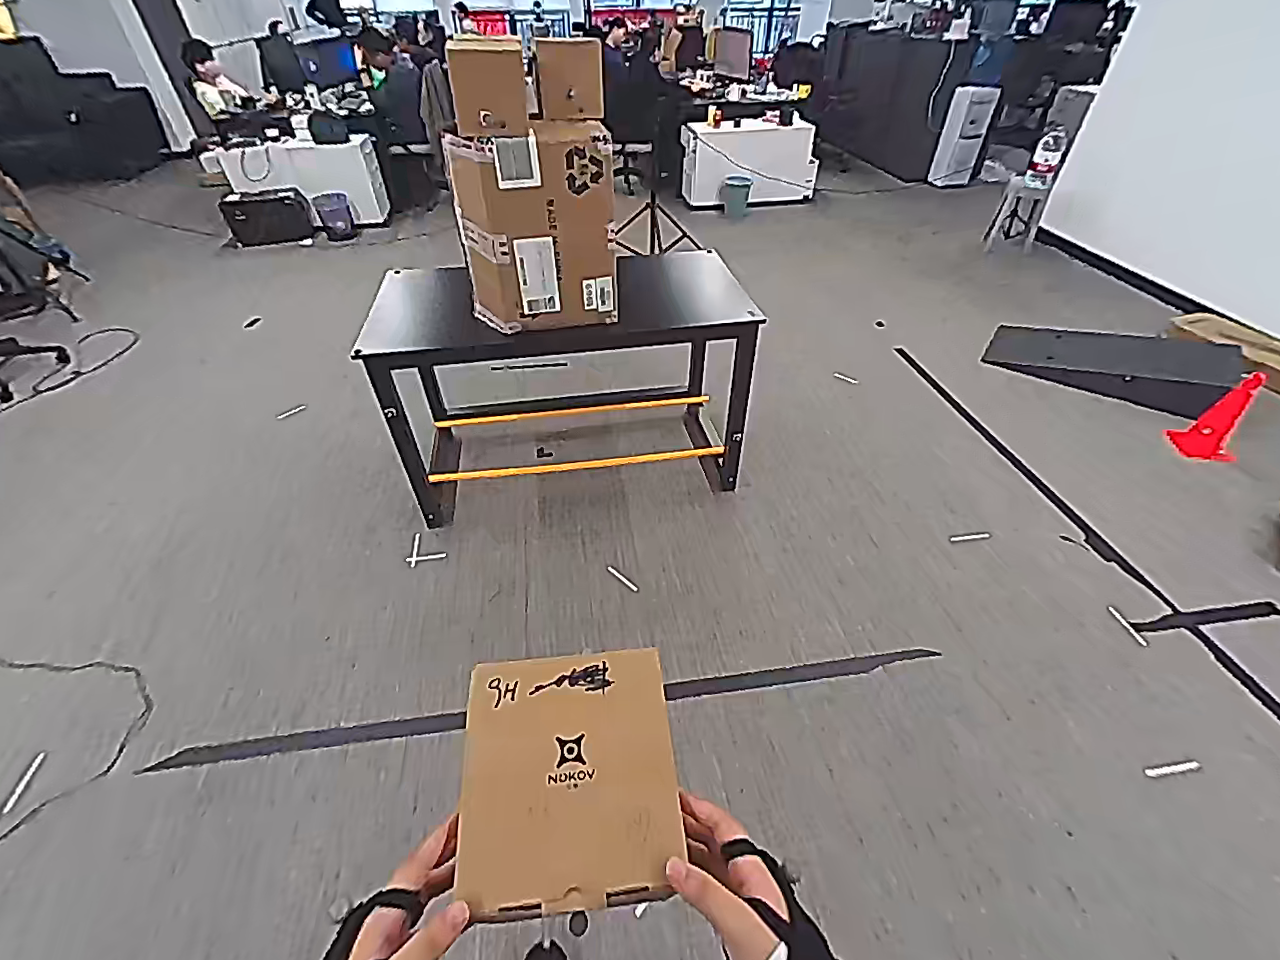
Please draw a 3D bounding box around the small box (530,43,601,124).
[{"bbox_3d":[-0.202,-1.076,1.466,0.168,0.176,0.179,-9,41,-10],"label":"small box"}]

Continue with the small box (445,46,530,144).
[{"bbox_3d":[-0.359,-0.914,1.284,0.168,0.176,0.179,-9,45,-10],"label":"small box"}]
